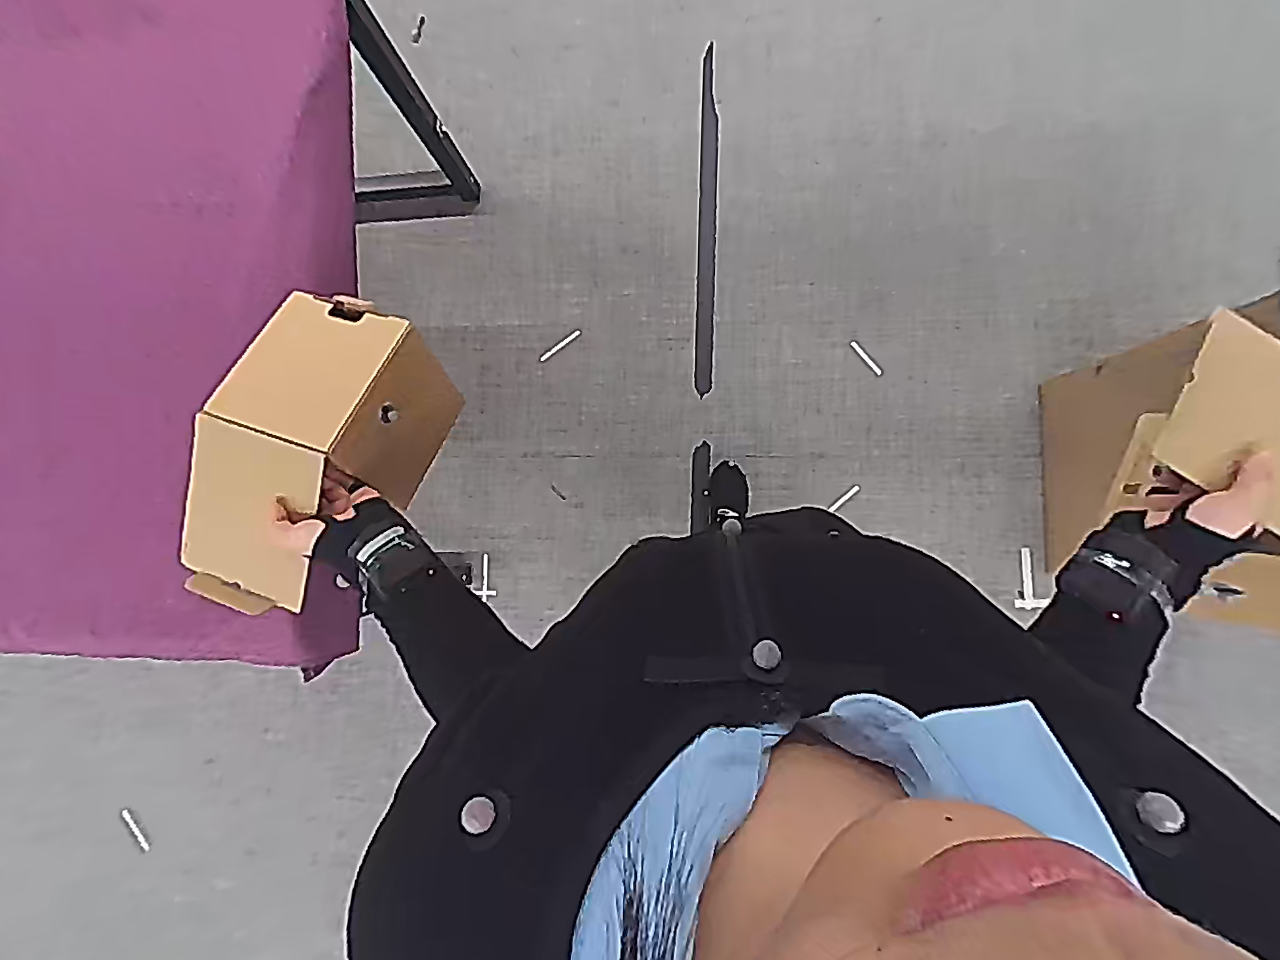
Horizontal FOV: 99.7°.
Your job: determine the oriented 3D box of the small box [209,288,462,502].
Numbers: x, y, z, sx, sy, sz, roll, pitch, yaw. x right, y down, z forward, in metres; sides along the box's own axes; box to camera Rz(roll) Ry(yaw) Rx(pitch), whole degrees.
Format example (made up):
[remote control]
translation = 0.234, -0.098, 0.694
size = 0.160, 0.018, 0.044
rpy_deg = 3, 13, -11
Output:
[small box]
translation = -0.345, -0.094, 0.656
size = 0.168, 0.176, 0.179
rpy_deg = 18, 68, 12
